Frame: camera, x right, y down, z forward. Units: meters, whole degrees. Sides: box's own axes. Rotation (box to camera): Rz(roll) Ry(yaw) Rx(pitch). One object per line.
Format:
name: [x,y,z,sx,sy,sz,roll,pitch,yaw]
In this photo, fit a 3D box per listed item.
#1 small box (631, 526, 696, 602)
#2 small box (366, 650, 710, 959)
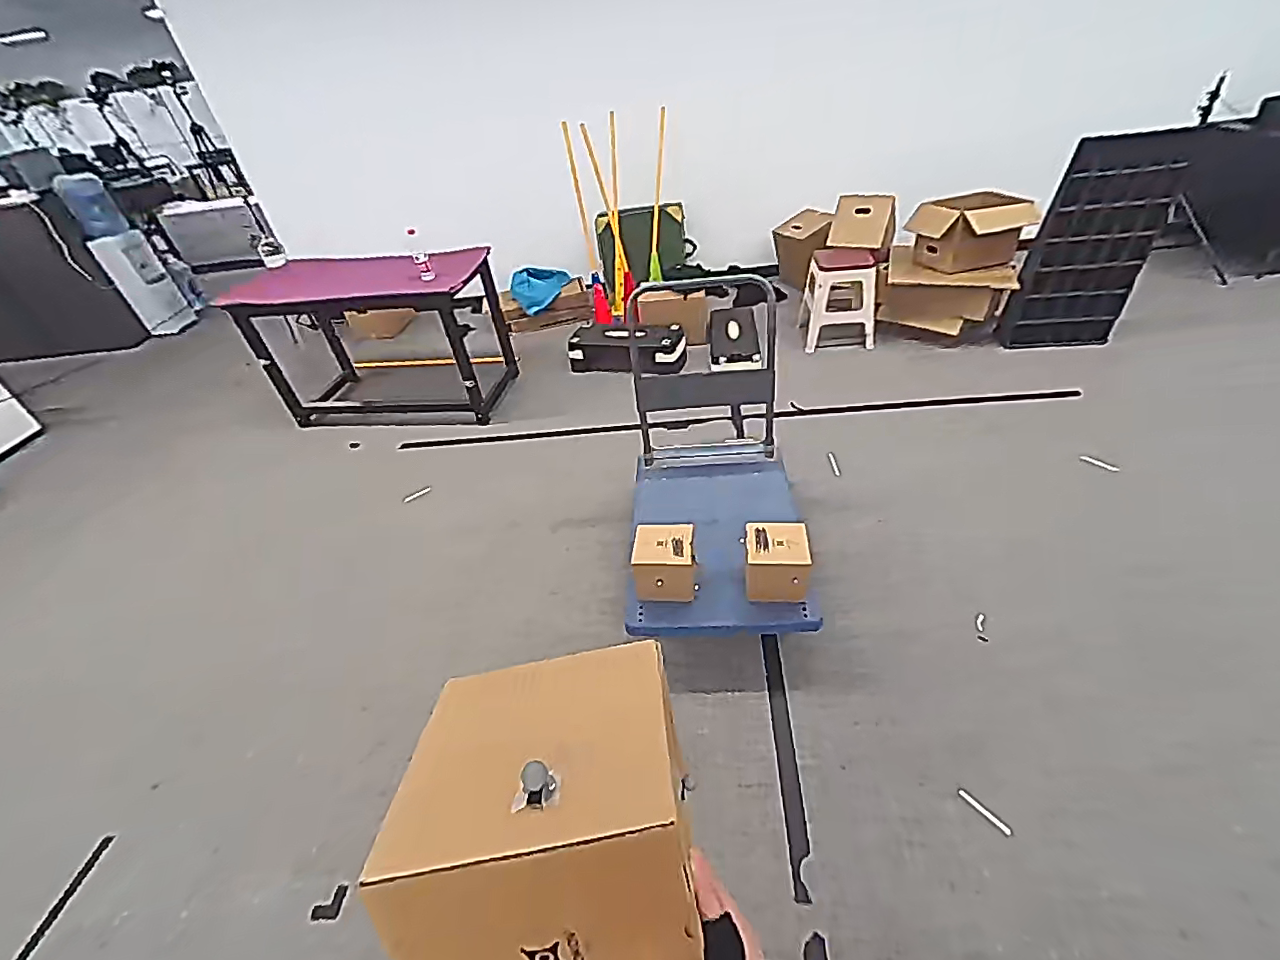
small box: [0.078,0.259,1.654,0.179,0.176,0.168,-1,39,10]
small box: [-0.053,0.249,0.387,0.179,0.168,0.176,-11,18,0]
